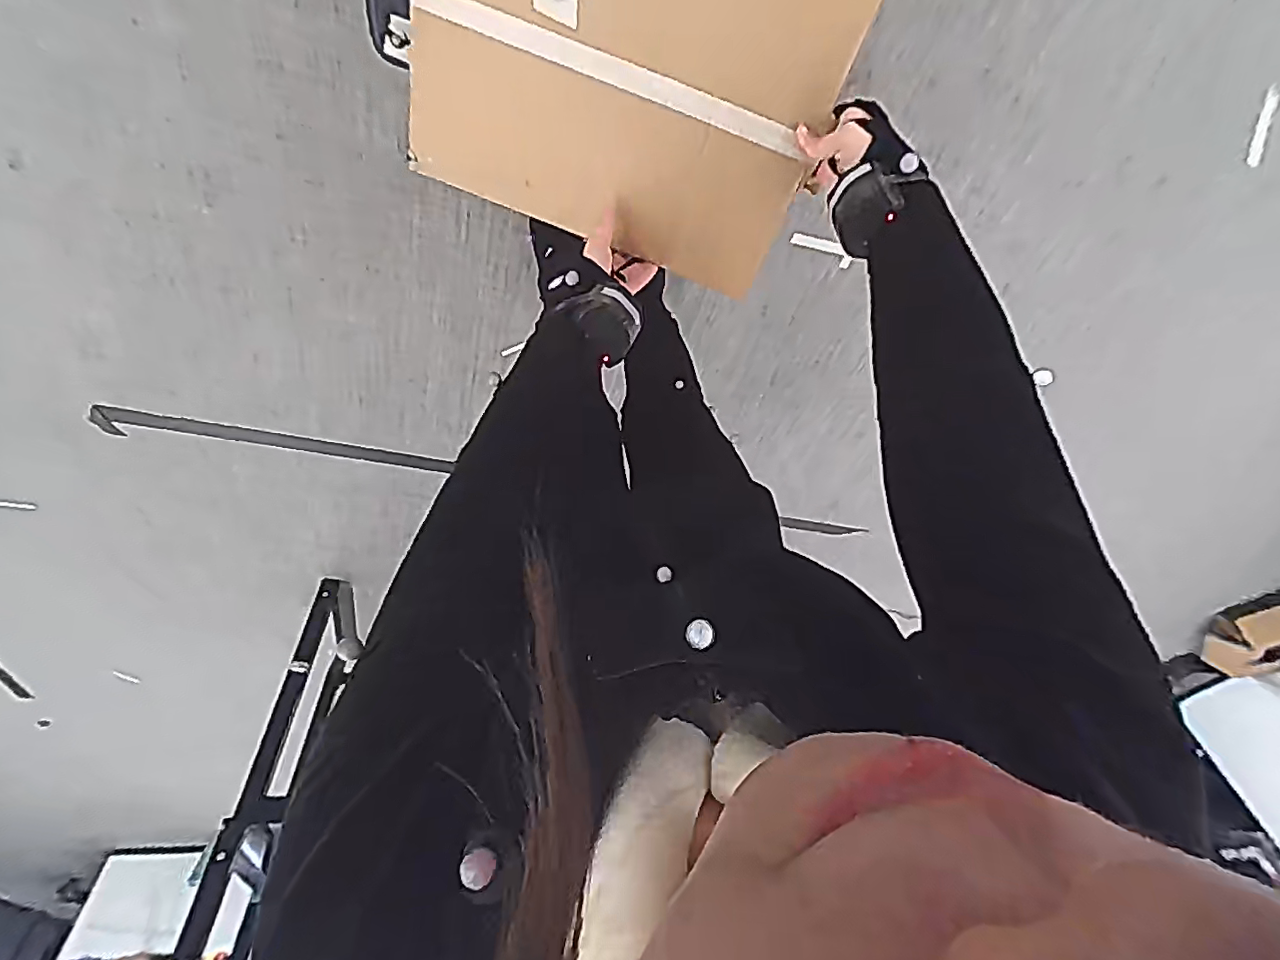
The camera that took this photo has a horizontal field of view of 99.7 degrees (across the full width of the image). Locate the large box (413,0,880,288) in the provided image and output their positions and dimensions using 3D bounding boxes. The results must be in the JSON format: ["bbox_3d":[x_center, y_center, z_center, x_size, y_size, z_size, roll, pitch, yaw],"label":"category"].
[{"bbox_3d":[0.010,-0.480,0.616,0.408,0.320,0.320,20,131,-3],"label":"large box"}]
